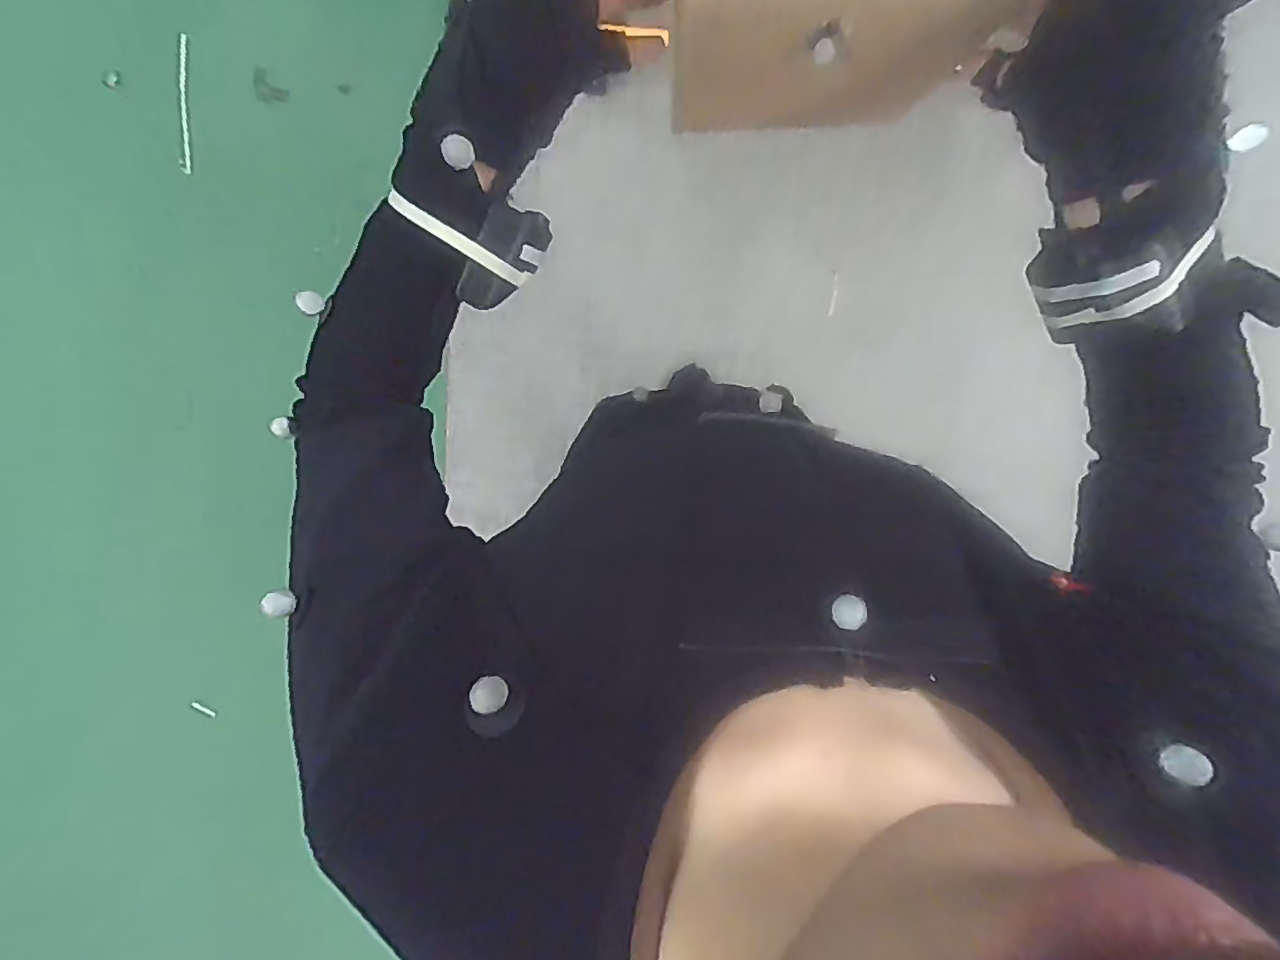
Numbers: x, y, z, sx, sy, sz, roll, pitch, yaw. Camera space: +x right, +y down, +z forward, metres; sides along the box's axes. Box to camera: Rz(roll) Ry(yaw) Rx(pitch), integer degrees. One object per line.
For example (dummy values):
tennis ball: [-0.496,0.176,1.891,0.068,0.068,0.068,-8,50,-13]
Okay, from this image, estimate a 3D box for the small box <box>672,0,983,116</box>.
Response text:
small box: [0.108,-0.342,0.321,0.179,0.176,0.168,-3,103,0]
